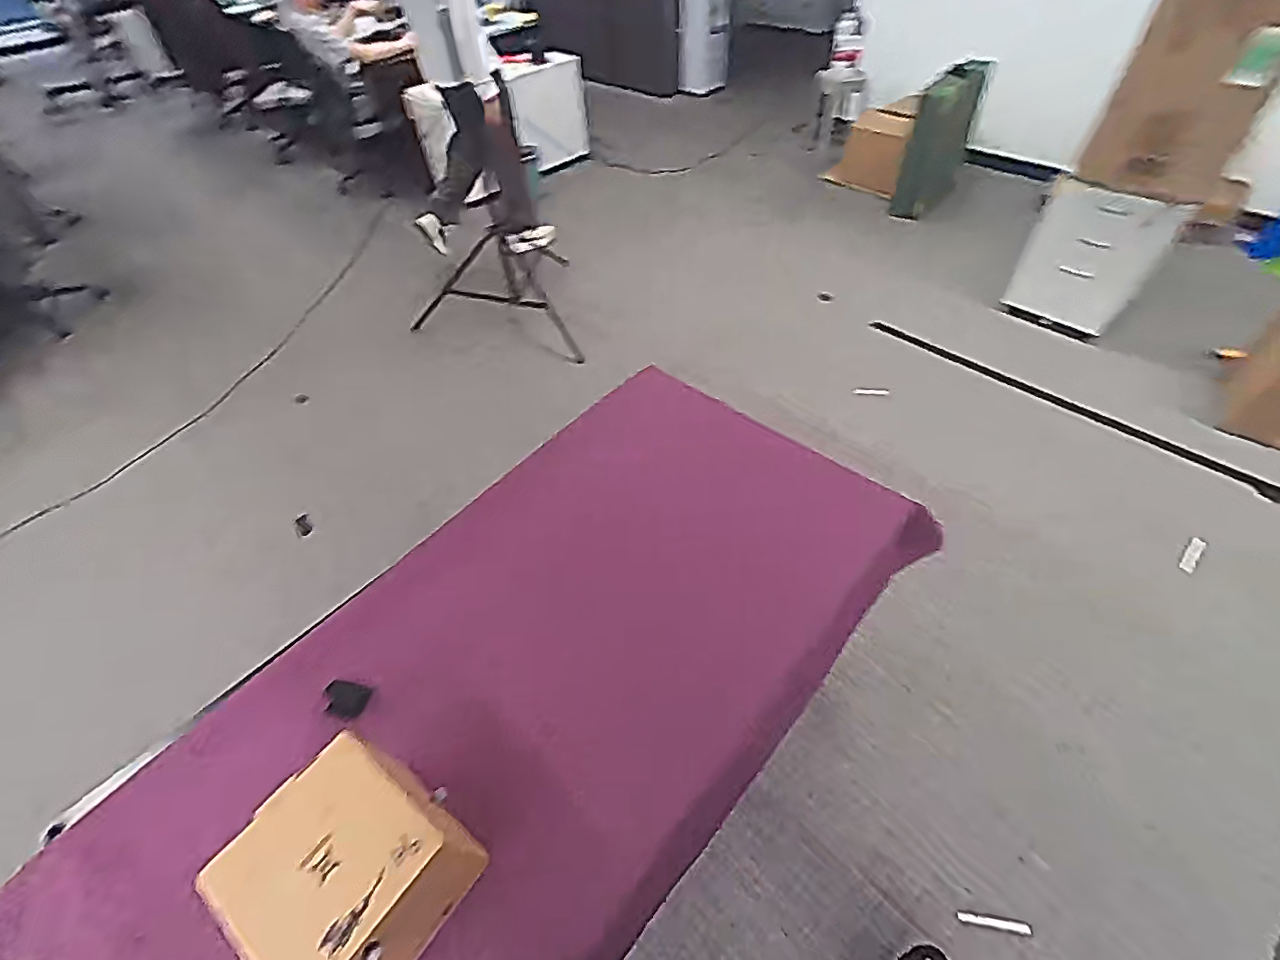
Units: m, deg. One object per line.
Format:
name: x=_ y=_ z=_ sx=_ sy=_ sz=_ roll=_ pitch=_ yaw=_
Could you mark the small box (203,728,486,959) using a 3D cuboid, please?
small box: x=-0.299 y=0.410 z=0.580 sx=0.179 sy=0.176 sz=0.168 roll=27 pitch=57 yaw=26
